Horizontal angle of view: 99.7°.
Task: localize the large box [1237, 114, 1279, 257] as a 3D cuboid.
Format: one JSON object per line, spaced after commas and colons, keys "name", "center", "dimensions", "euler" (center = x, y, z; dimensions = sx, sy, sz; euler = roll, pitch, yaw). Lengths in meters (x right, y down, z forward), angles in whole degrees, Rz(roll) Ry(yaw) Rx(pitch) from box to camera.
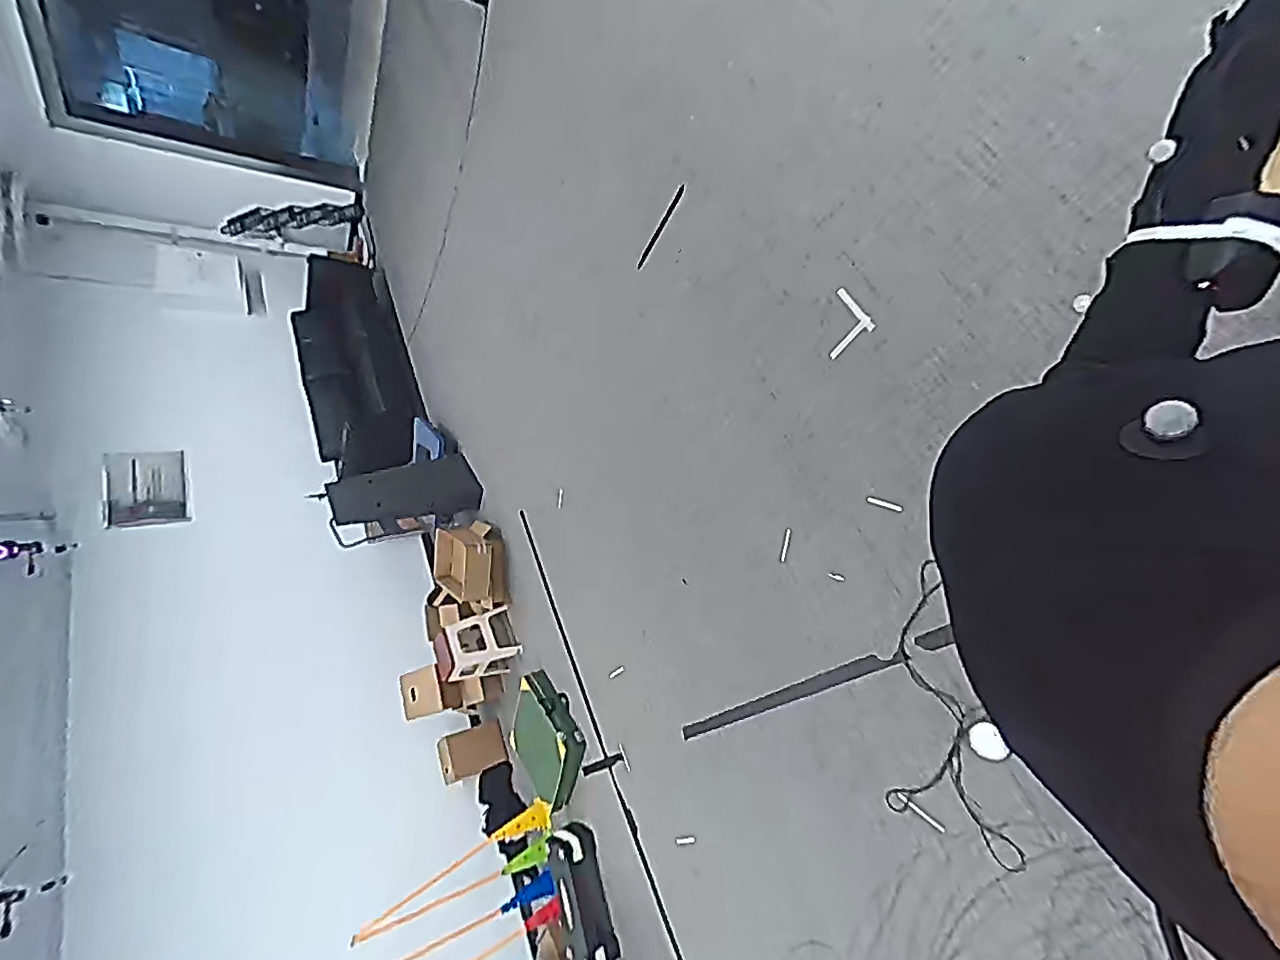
{"name": "large box", "center": [0.696, -0.290, 0.298], "dimensions": [0.408, 0.320, 0.320], "euler": [30, 123, 47]}
